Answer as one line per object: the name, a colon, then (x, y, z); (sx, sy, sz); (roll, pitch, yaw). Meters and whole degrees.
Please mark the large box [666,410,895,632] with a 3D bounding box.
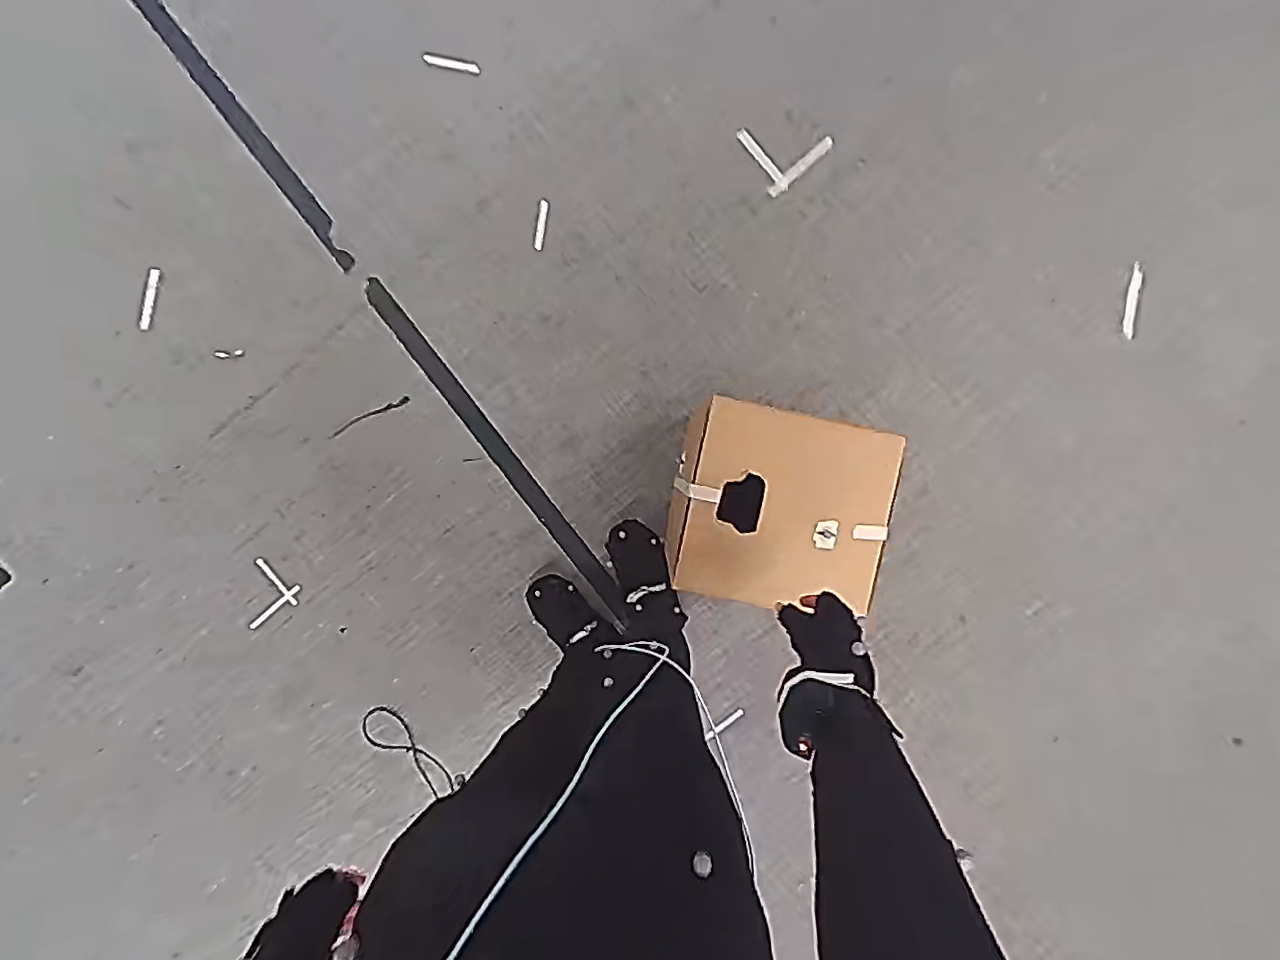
large box: (0.232, 0.063, 1.040); (0.320, 0.408, 0.320); (13, 93, 1)
